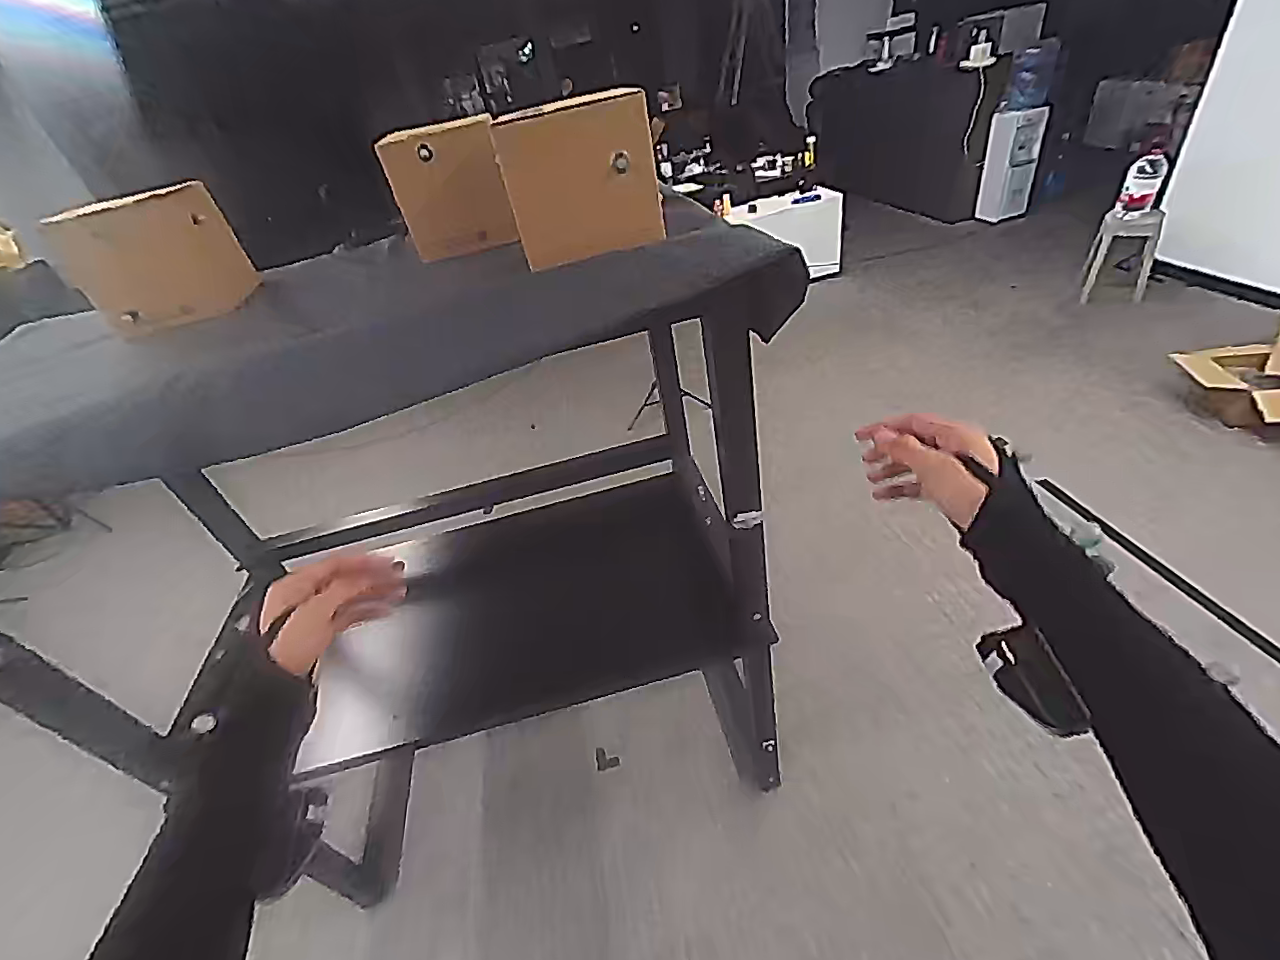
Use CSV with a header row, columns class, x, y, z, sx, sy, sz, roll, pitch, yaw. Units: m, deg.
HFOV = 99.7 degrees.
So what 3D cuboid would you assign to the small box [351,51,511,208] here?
class,x,y,z,sx,sy,sz,roll,pitch,yaw
small box,-0.305,-0.534,0.831,0.168,0.176,0.179,-15,38,-2
